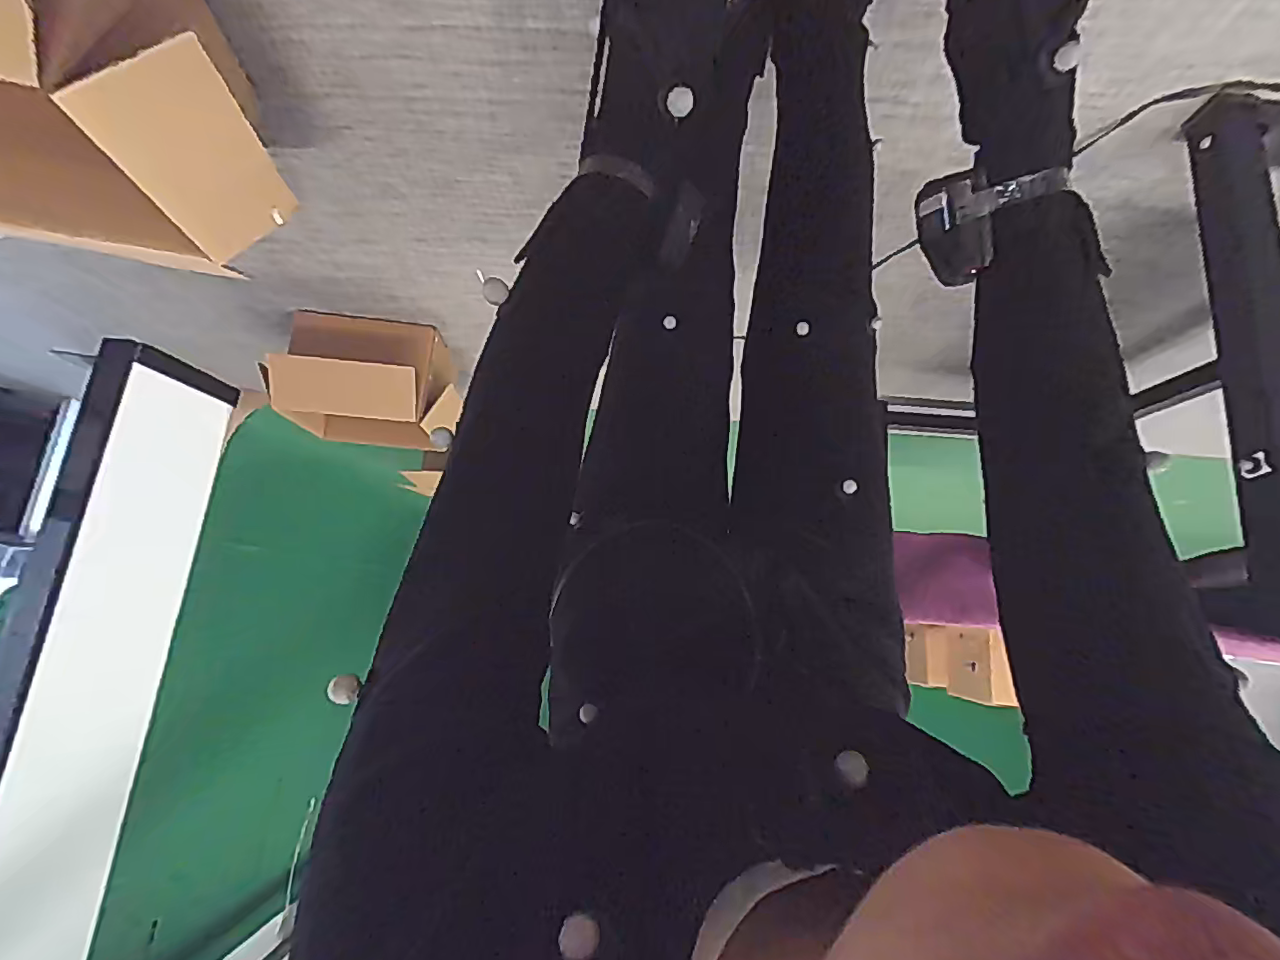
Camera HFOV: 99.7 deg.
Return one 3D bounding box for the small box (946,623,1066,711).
[{"bbox_3d":[0.846,0.431,1.267,0.179,0.176,0.168,7,167,-2],"label":"small box"}]
